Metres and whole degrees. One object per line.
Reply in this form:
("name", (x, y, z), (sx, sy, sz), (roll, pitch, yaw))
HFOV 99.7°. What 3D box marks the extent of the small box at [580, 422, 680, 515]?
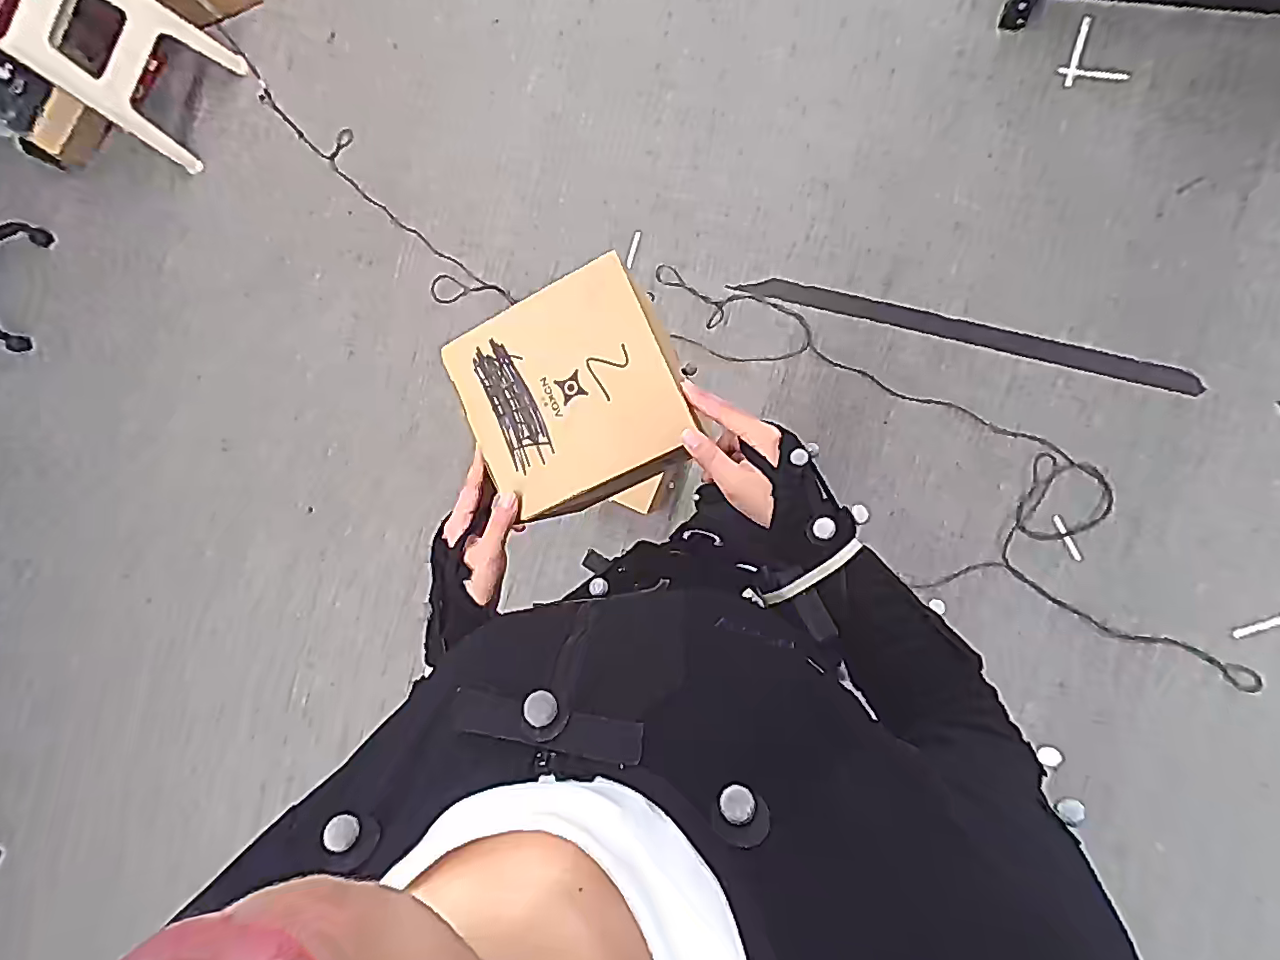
("small box", (-0.017, -0.027, 1.312), (0.179, 0.176, 0.168), (24, 95, 10))
